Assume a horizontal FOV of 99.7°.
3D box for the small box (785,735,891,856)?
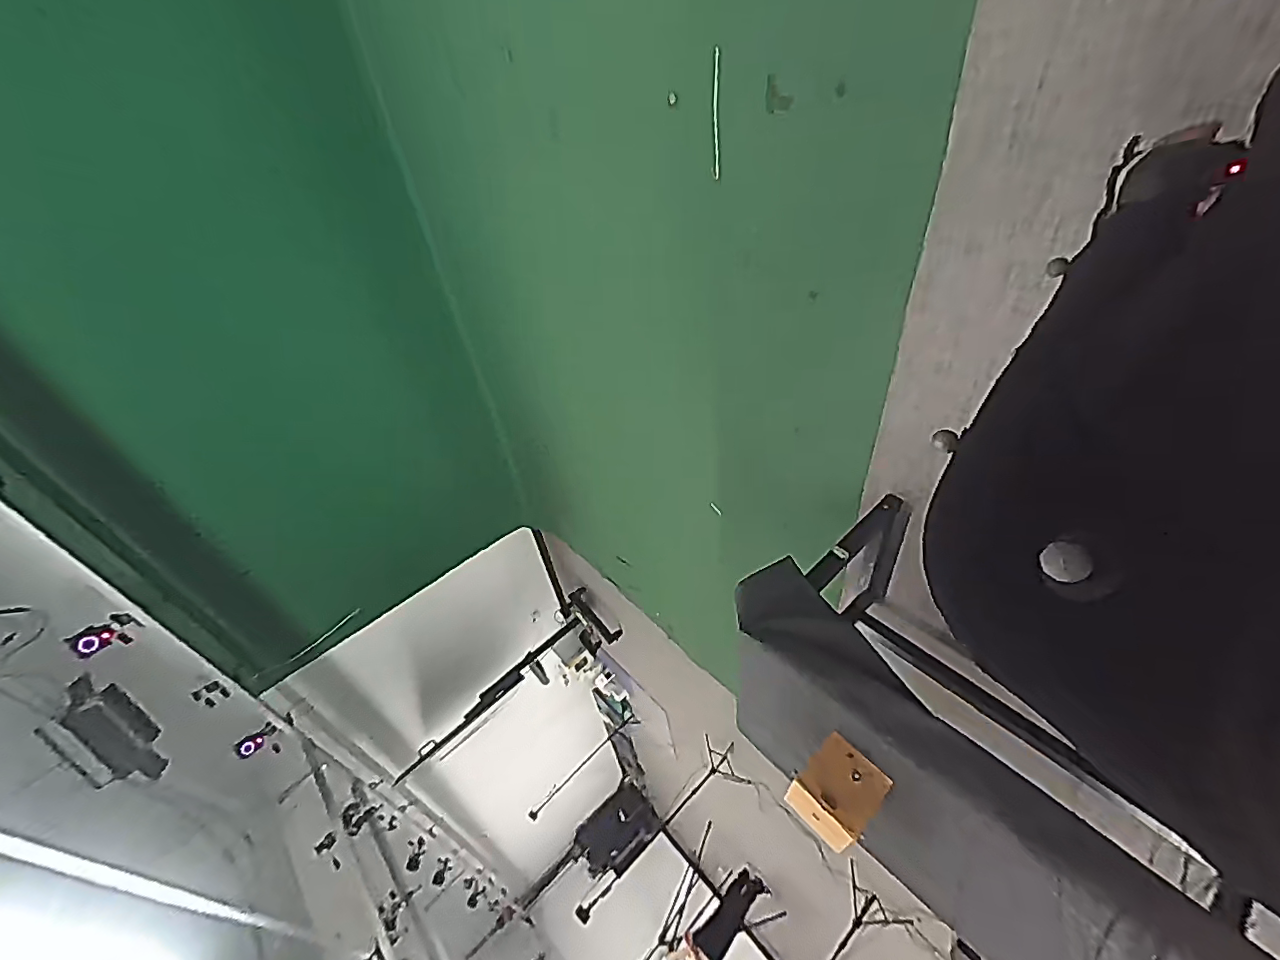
[{"bbox_3d":[0.480,0.764,1.316,0.168,0.176,0.179,38,148,33],"label":"small box"}]
